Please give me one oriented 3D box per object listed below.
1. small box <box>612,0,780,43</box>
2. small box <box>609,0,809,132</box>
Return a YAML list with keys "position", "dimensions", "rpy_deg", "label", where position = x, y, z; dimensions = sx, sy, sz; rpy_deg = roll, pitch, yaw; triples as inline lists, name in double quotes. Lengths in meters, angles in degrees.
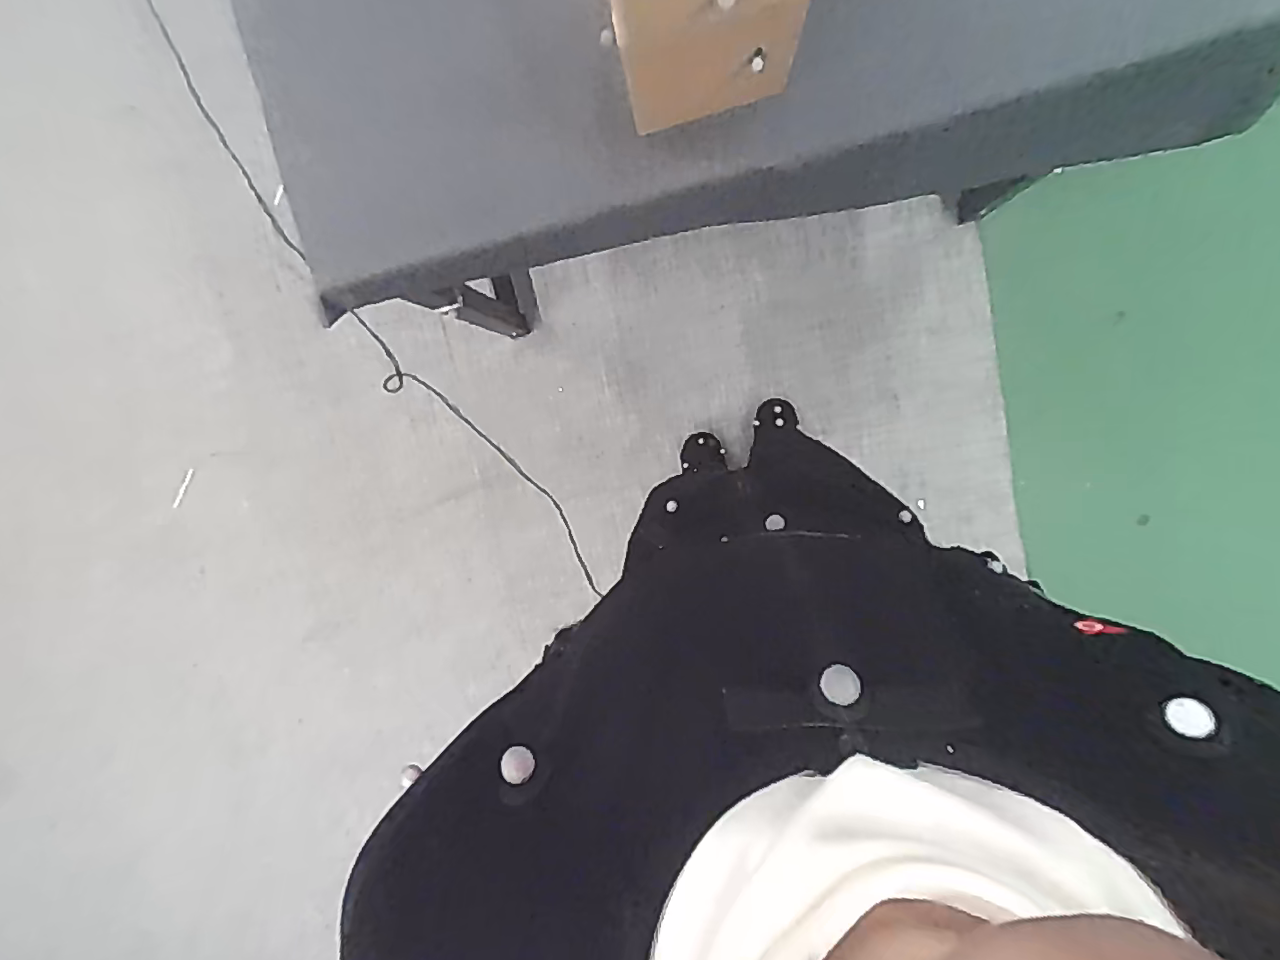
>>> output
- position: [0.046, -0.473, 0.389]
  dimensions: [0.179, 0.176, 0.168]
  rpy_deg: [-12, 96, 6]
  label: "small box"
- position: [0.058, -0.499, 0.550]
  dimensions: [0.179, 0.176, 0.168]
  rpy_deg: [-13, 96, 8]
  label: "small box"
